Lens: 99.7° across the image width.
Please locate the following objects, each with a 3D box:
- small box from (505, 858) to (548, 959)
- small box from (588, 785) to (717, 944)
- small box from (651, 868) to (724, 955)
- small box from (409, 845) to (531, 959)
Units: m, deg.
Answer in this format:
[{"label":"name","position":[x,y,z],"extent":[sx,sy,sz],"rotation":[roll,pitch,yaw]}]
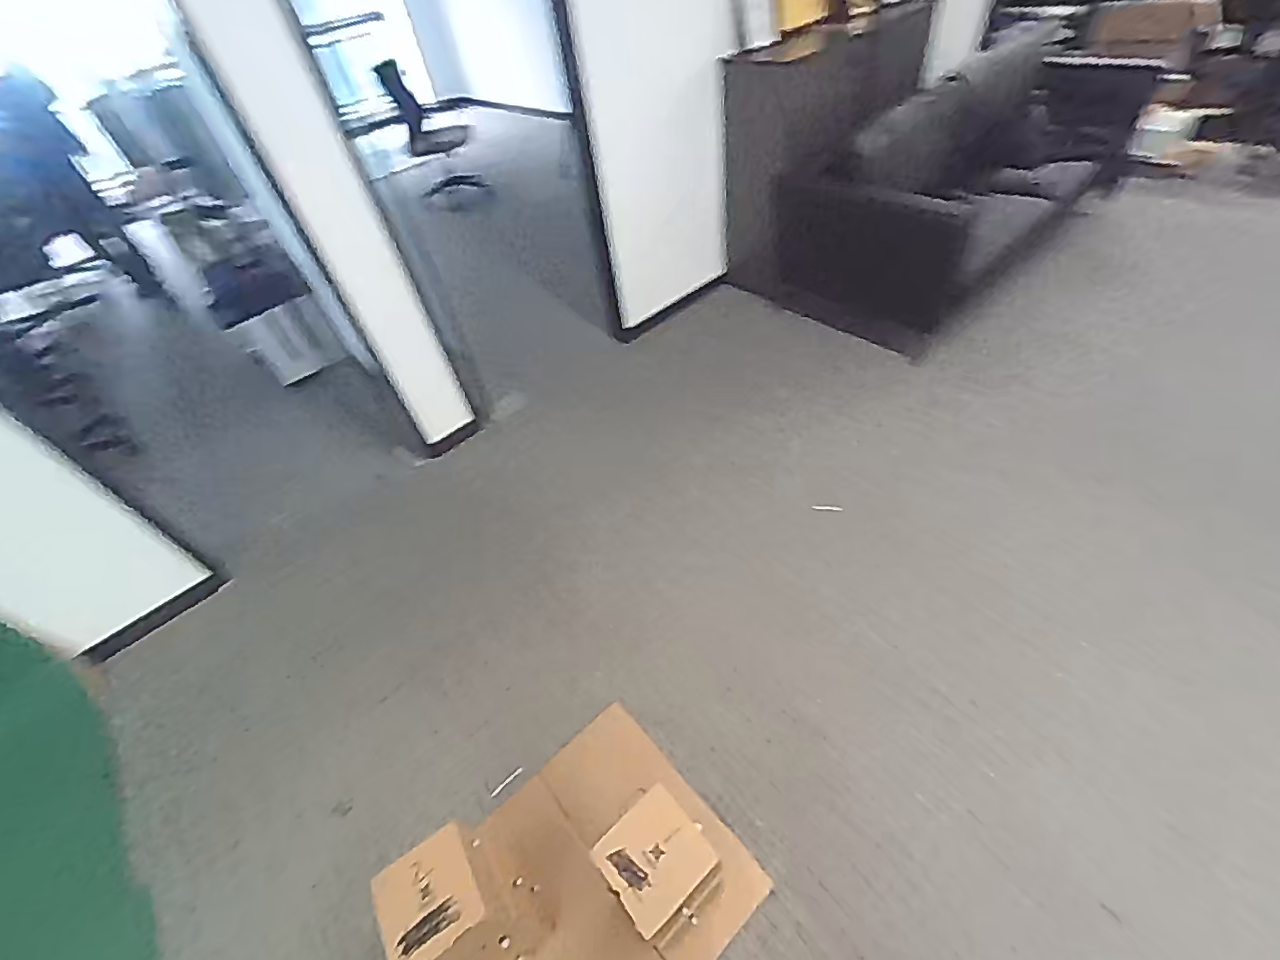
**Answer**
[{"label":"small box","position":[-0.327,1.016,1.240],"extent":[0.179,0.176,0.168],"rotation":[-29,48,-18]},{"label":"small box","position":[0.032,0.719,1.008],"extent":[0.179,0.176,0.168],"rotation":[-36,52,-22]},{"label":"small box","position":[0.056,0.834,1.125],"extent":[0.179,0.176,0.168],"rotation":[-37,53,-21]},{"label":"small box","position":[-0.341,0.905,1.118],"extent":[0.179,0.176,0.168],"rotation":[-30,48,-18]}]
